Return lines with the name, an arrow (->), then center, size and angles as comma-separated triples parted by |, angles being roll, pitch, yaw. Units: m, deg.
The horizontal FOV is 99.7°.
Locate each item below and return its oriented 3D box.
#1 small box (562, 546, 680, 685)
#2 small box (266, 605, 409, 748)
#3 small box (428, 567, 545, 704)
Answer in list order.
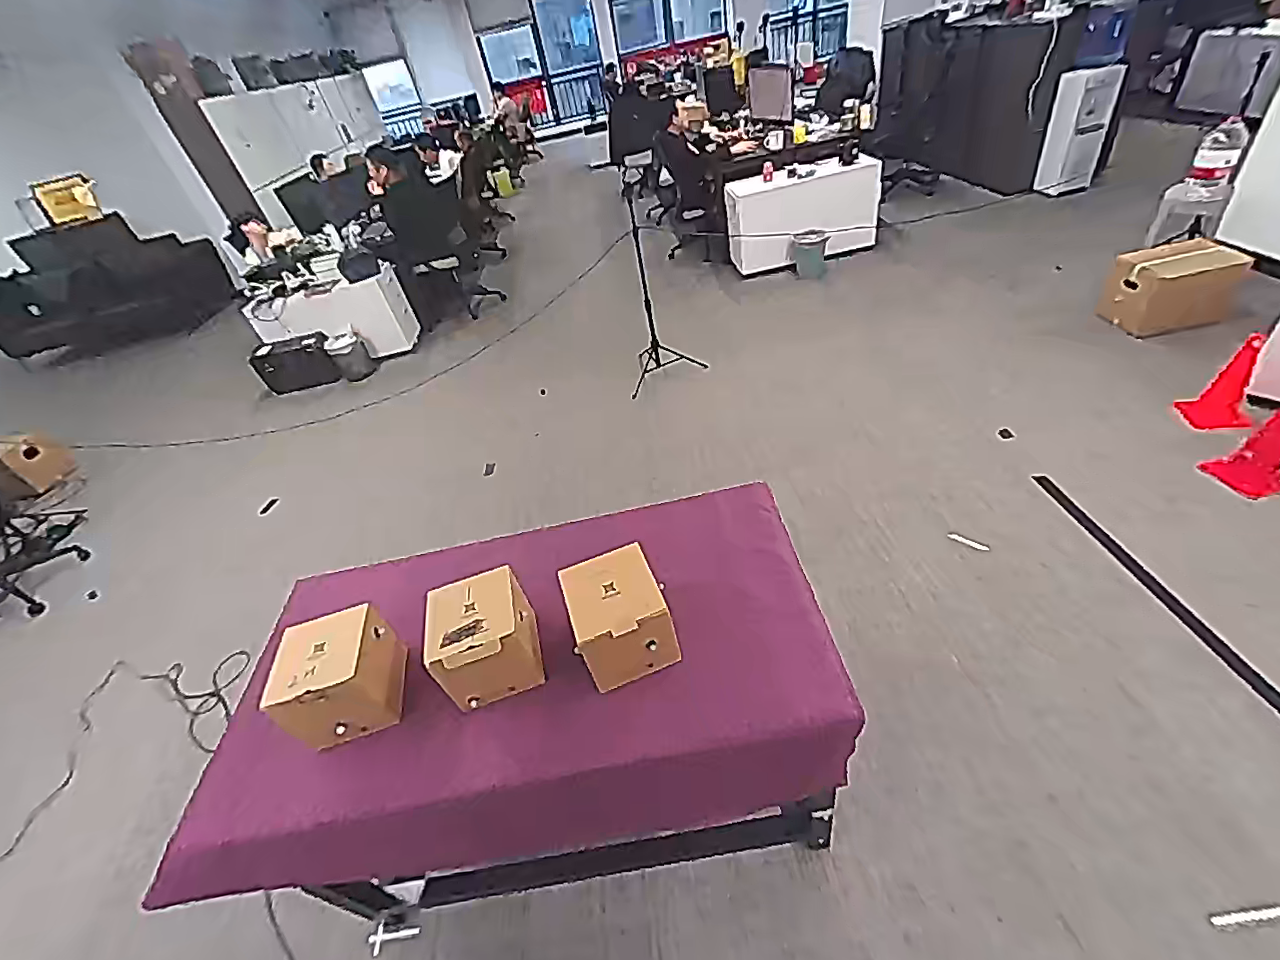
small box -> -0.035, 0.263, 1.027 | 0.168, 0.176, 0.179 | -19, 39, -7
small box -> -0.566, 0.378, 1.043 | 0.168, 0.176, 0.179 | -17, 40, -4
small box -> -0.292, 0.307, 1.048 | 0.168, 0.176, 0.179 | -18, 39, -5
